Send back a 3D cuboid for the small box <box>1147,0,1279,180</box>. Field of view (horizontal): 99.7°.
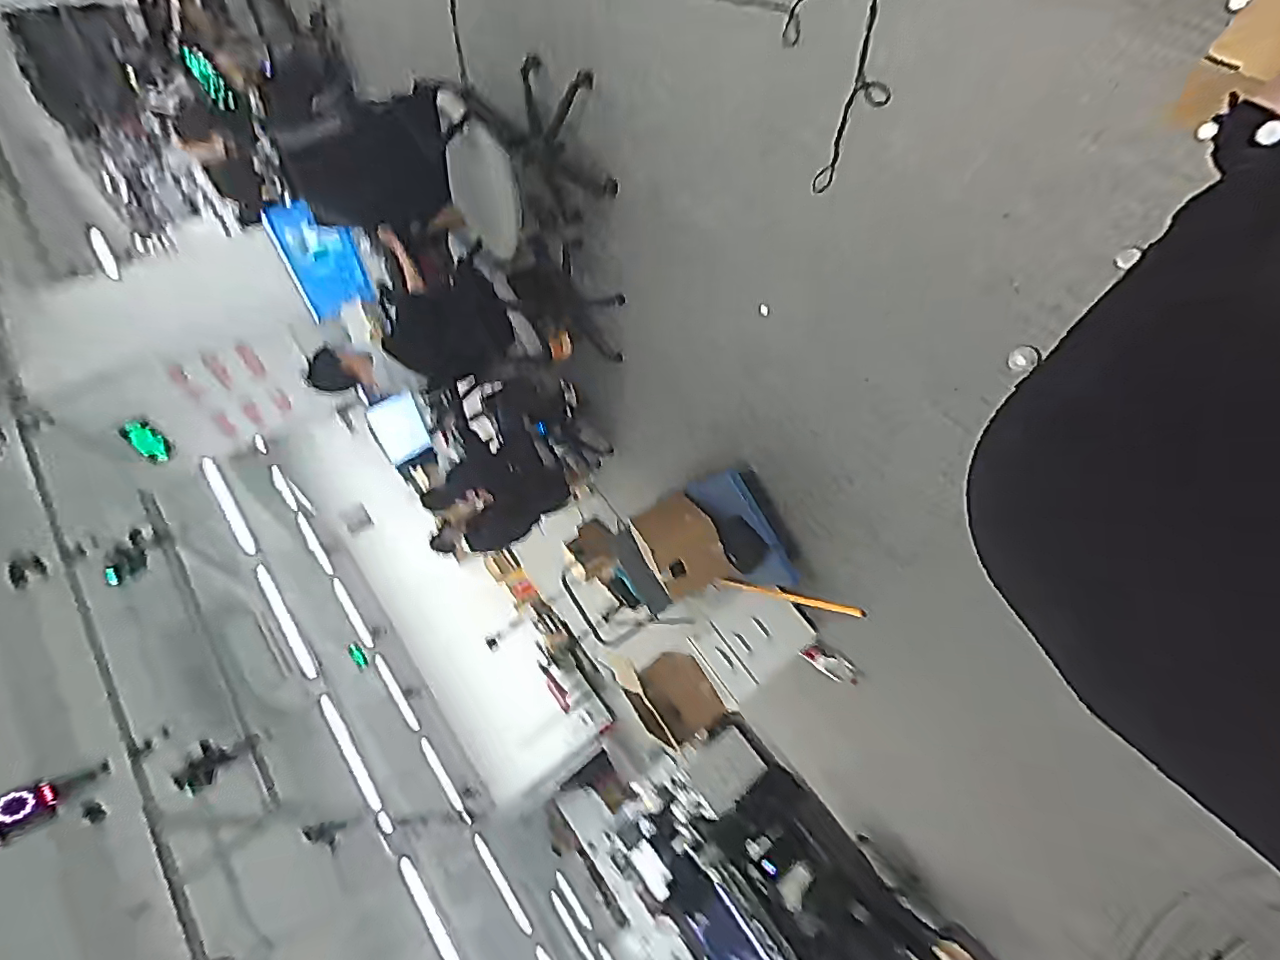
[{"bbox_3d":[0.623,-0.396,0.475,0.168,0.179,0.176,40,120,16],"label":"small box"}]
